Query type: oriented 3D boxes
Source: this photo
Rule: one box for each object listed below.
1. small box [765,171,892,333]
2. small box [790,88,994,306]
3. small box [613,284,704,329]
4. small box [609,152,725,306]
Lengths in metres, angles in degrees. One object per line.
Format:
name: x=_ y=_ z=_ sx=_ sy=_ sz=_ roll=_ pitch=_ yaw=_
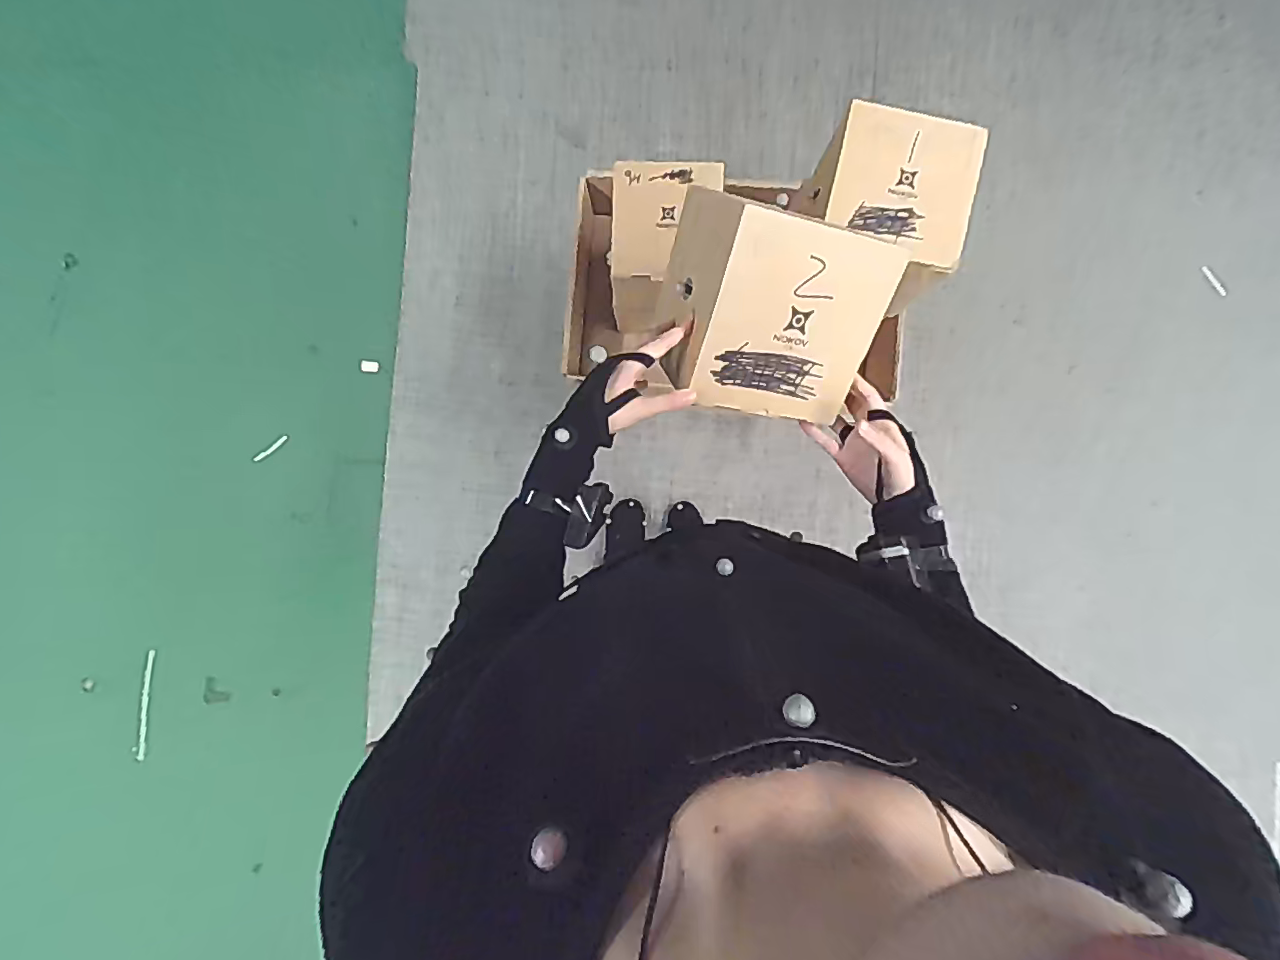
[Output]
small box: x=0.306 y=-0.348 z=0.861 sx=0.168 sy=0.176 sz=0.179 roll=11 pitch=90 yaw=1
small box: x=0.306 y=-0.346 z=0.697 sx=0.168 sy=0.176 sz=0.179 roll=14 pitch=89 yaw=1
small box: x=0.038 y=-0.402 z=1.029 sx=0.168 sy=0.176 sz=0.179 roll=2 pitch=89 yaw=2
small box: x=0.042 y=-0.389 z=0.865 sx=0.168 sy=0.176 sz=0.179 roll=2 pitch=90 yaw=1
